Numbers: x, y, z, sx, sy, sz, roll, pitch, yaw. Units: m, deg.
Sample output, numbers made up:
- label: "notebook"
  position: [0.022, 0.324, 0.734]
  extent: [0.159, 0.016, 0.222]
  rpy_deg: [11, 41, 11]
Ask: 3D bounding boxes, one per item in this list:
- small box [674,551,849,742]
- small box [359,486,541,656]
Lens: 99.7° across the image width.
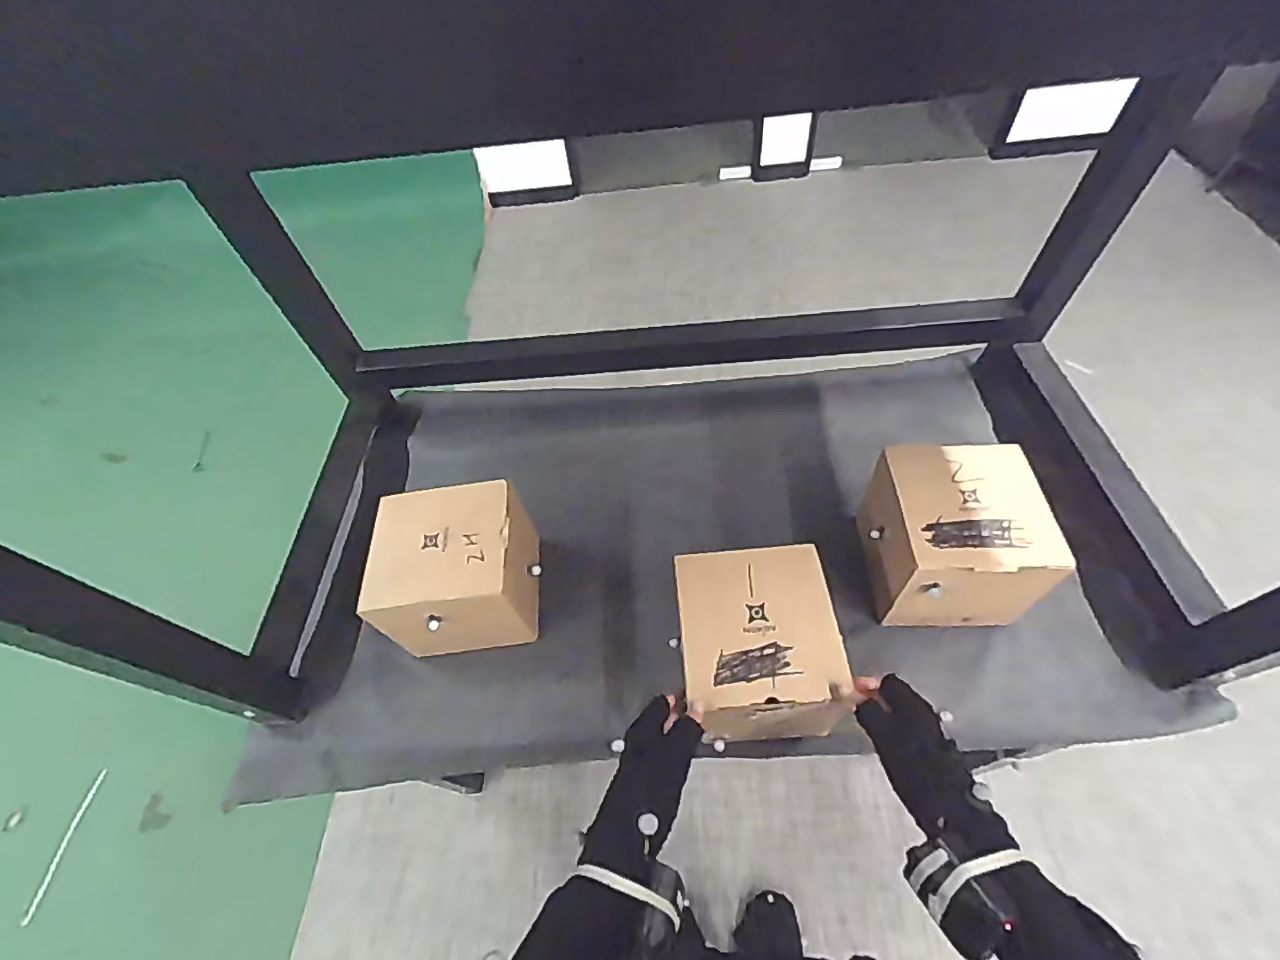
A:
- label: "small box"
  position: [0.131, 0.205, 0.644]
  extent: [0.168, 0.176, 0.179]
  rpy_deg: [-5, 53, 3]
- label: "small box"
  position: [-0.244, 0.130, 0.743]
  extent: [0.179, 0.176, 0.168]
  rpy_deg: [-7, 54, 1]
